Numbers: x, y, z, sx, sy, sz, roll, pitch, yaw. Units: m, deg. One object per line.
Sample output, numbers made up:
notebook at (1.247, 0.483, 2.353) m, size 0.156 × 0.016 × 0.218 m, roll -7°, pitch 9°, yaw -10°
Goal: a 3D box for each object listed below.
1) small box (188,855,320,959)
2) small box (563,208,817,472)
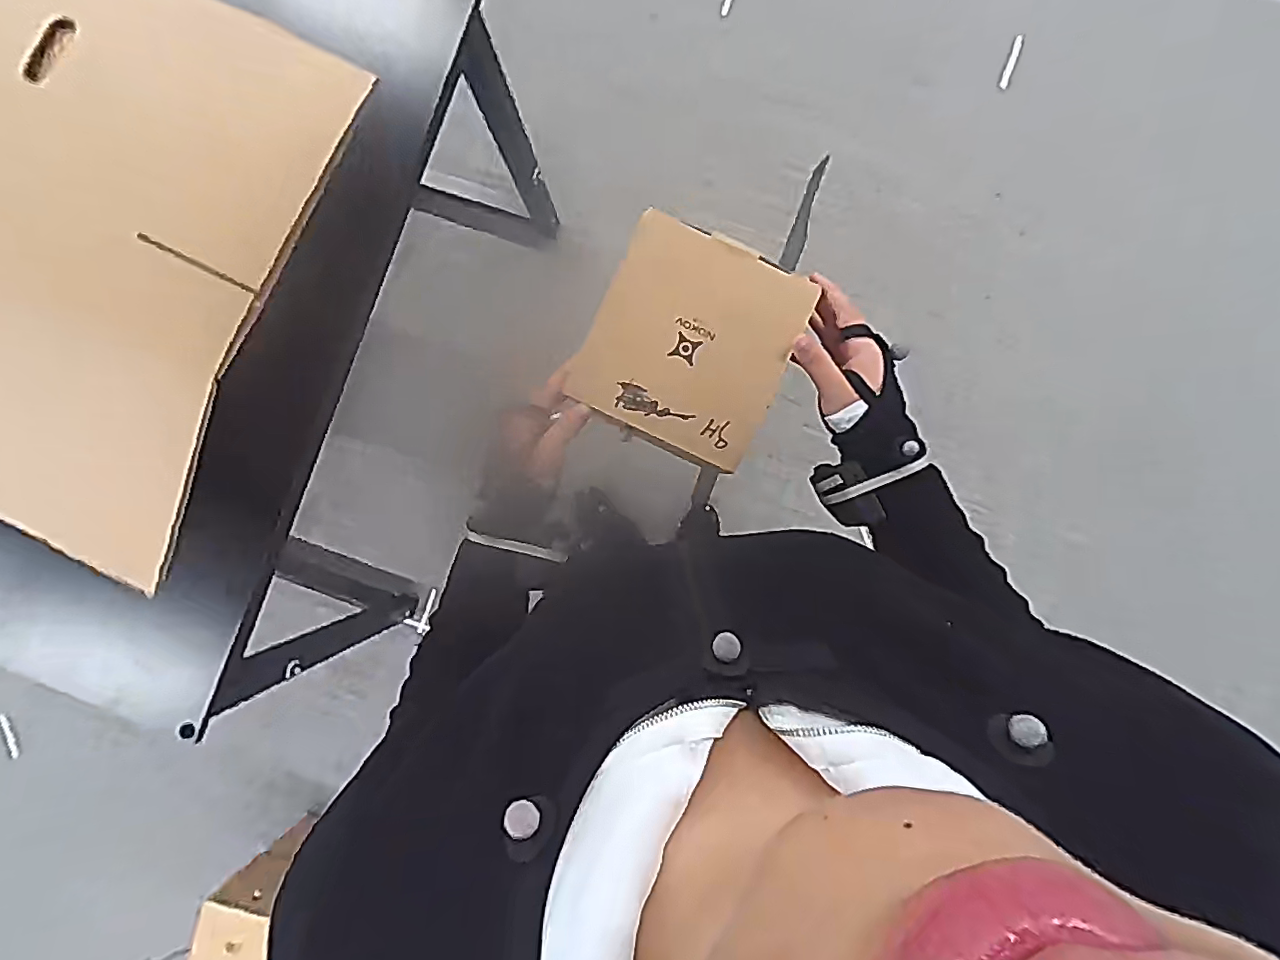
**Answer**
small box at (-0.887, 1.018, 1.256) m, size 0.179 × 0.176 × 0.168 m, roll 13°, pitch 88°, yaw 4°
small box at (0.043, -0.120, 0.536) m, size 0.168 × 0.176 × 0.179 m, roll 26°, pitch 91°, yaw 1°
